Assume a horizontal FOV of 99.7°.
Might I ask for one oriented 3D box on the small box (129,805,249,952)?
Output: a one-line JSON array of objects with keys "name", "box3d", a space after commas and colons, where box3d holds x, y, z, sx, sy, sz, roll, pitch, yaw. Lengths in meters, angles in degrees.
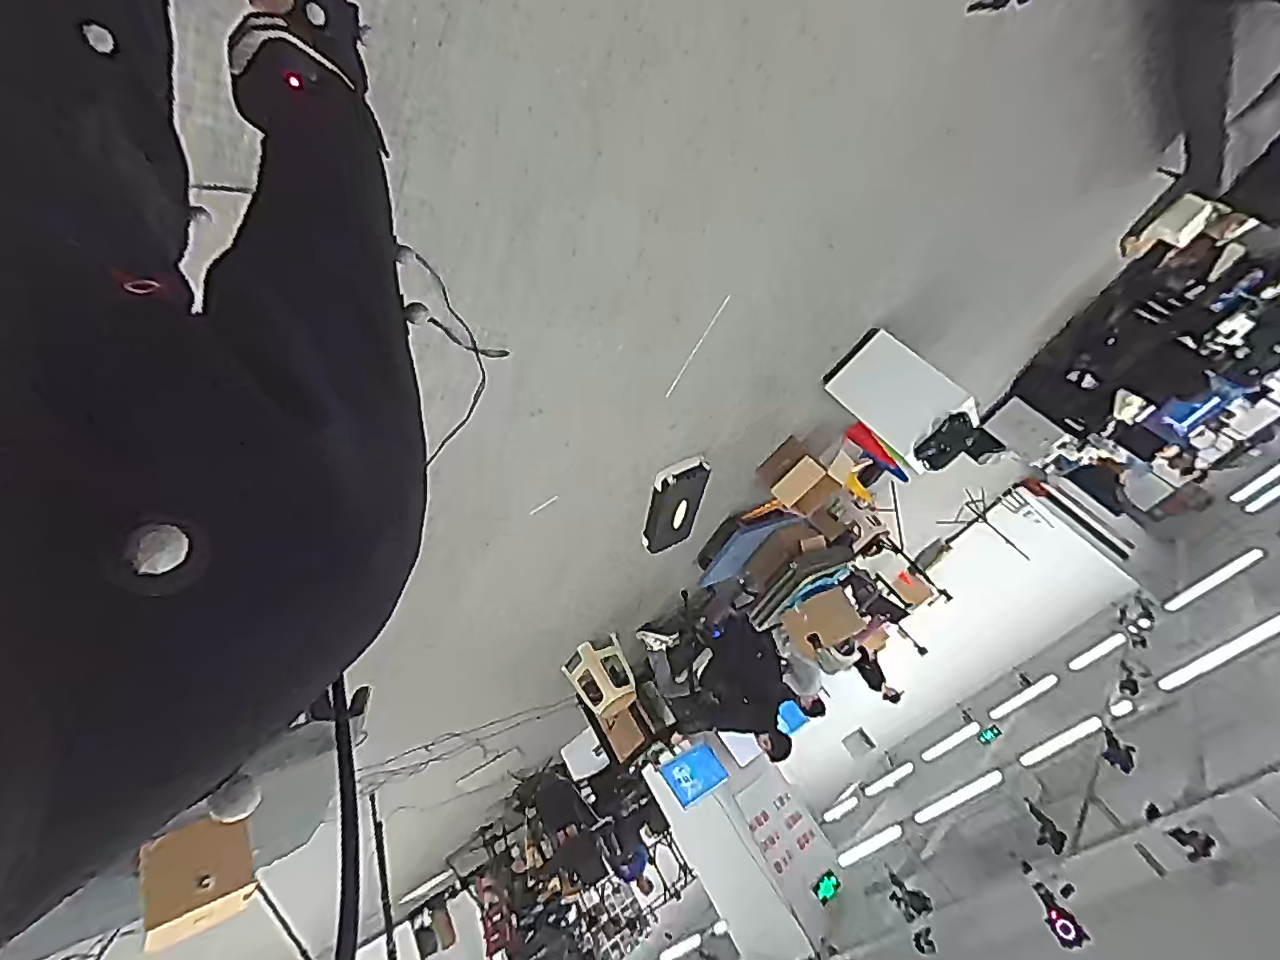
[{"name": "small box", "box3d": [-0.949, 0.825, 1.136, 0.179, 0.176, 0.168, -2, 135, -44]}]
